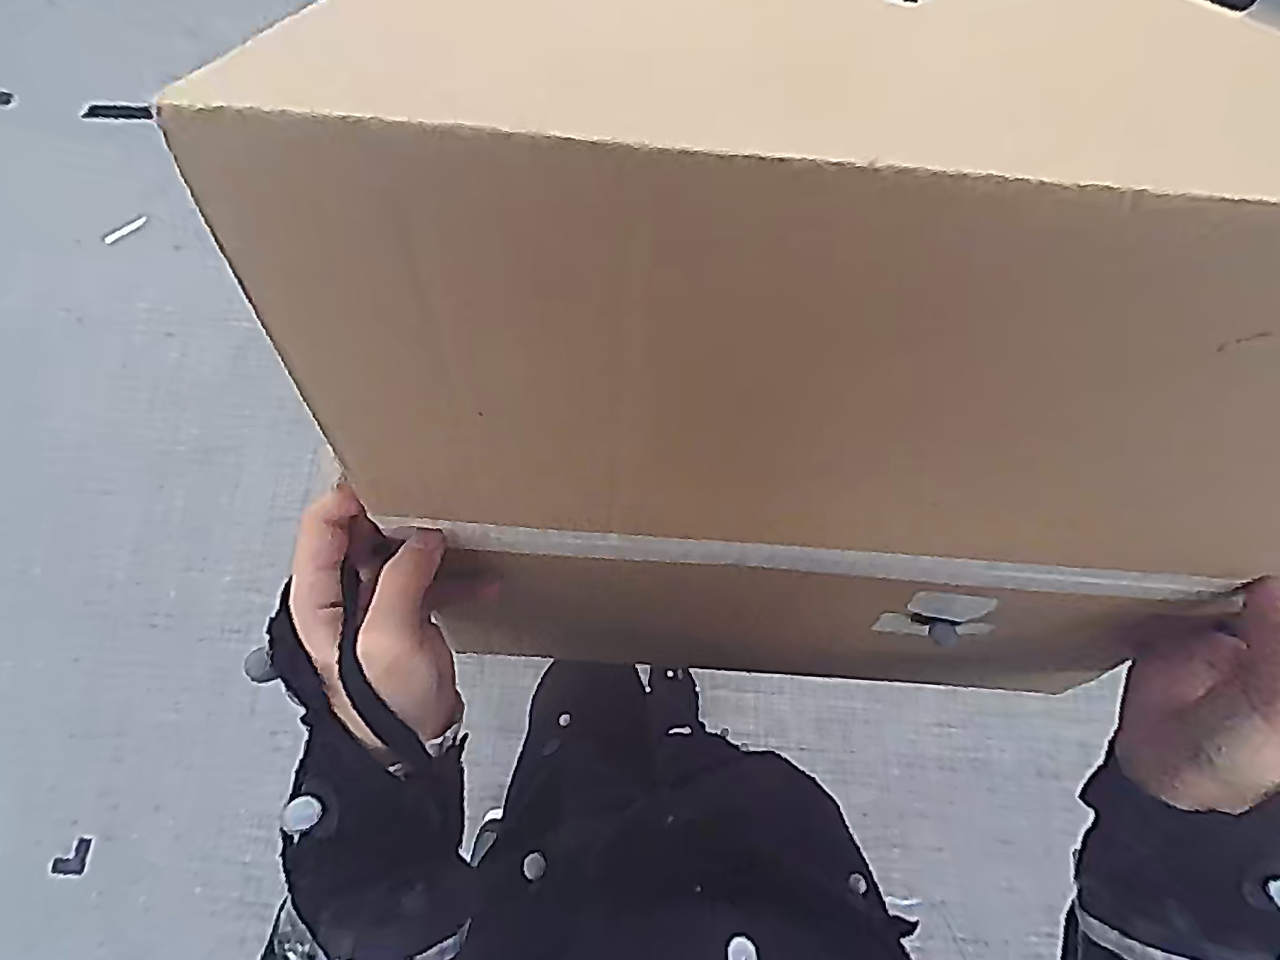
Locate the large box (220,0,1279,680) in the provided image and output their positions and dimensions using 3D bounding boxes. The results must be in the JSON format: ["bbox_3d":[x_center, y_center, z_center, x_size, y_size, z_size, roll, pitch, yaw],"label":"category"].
[{"bbox_3d":[0.088,-0.085,0.342,0.408,0.320,0.320,3,53,-1],"label":"large box"}]
